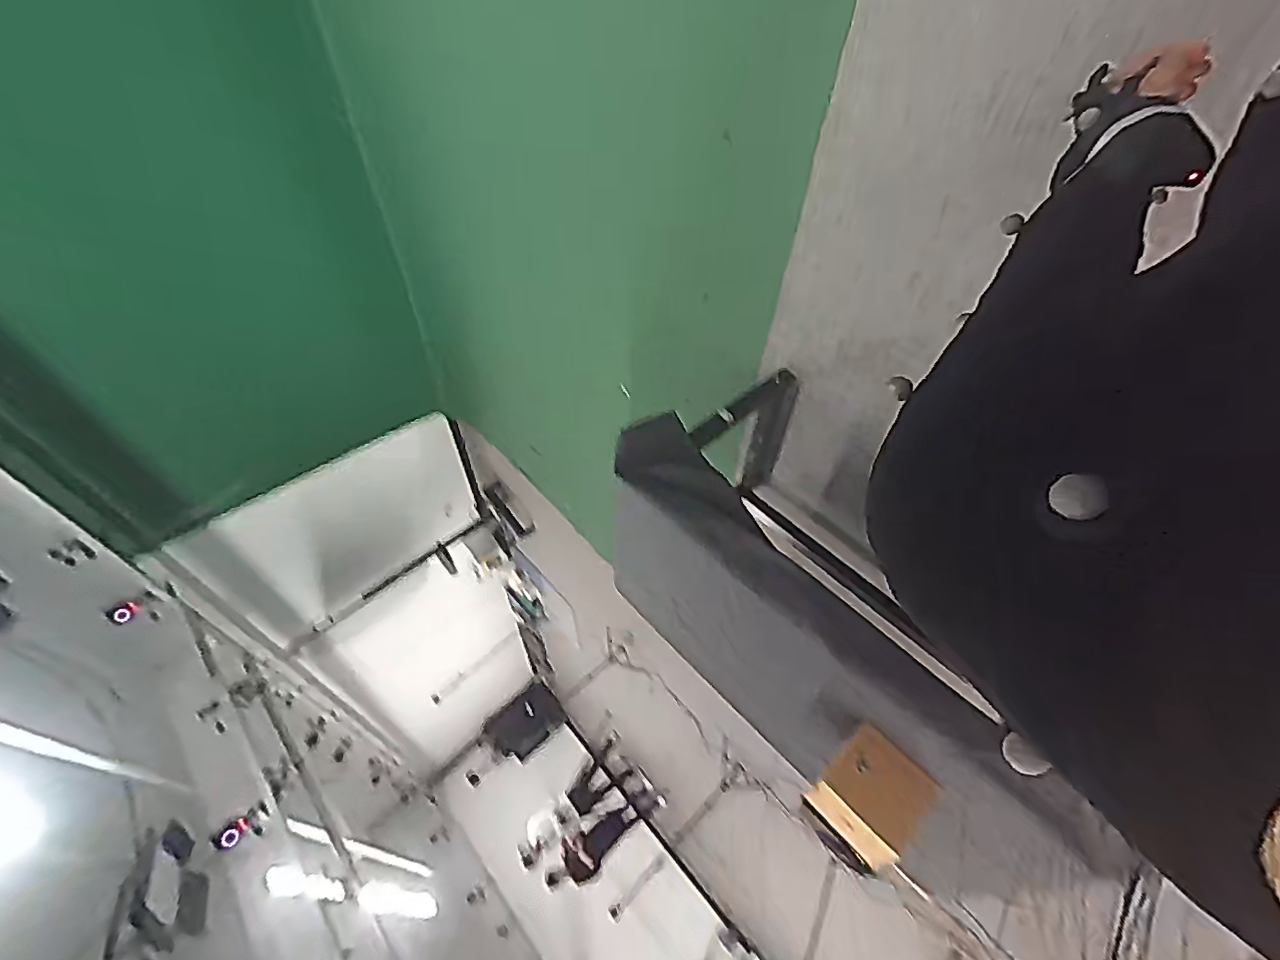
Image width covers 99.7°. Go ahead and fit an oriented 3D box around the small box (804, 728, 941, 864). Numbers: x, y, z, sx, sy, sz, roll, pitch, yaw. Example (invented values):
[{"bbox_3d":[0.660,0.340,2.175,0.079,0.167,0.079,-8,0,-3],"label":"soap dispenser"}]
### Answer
[{"bbox_3d":[0.480,0.648,1.127,0.179,0.176,0.168,39,150,28],"label":"small box"}]
